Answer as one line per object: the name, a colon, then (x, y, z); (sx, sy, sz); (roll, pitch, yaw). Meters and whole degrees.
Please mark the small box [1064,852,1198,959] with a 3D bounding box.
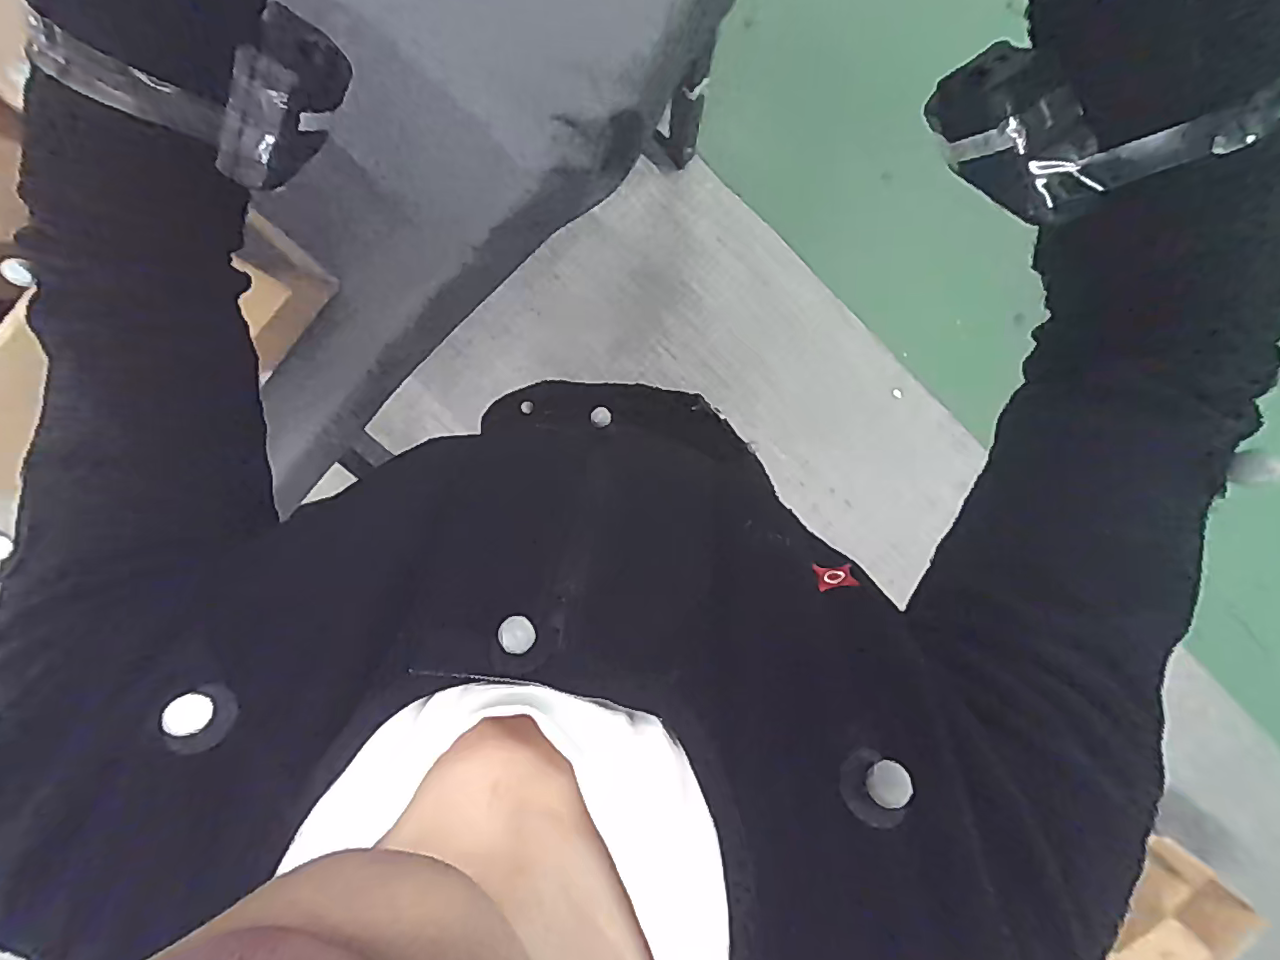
small box: (1.326, 1.174, 1.476); (0.168, 0.176, 0.179); (43, 98, -4)
